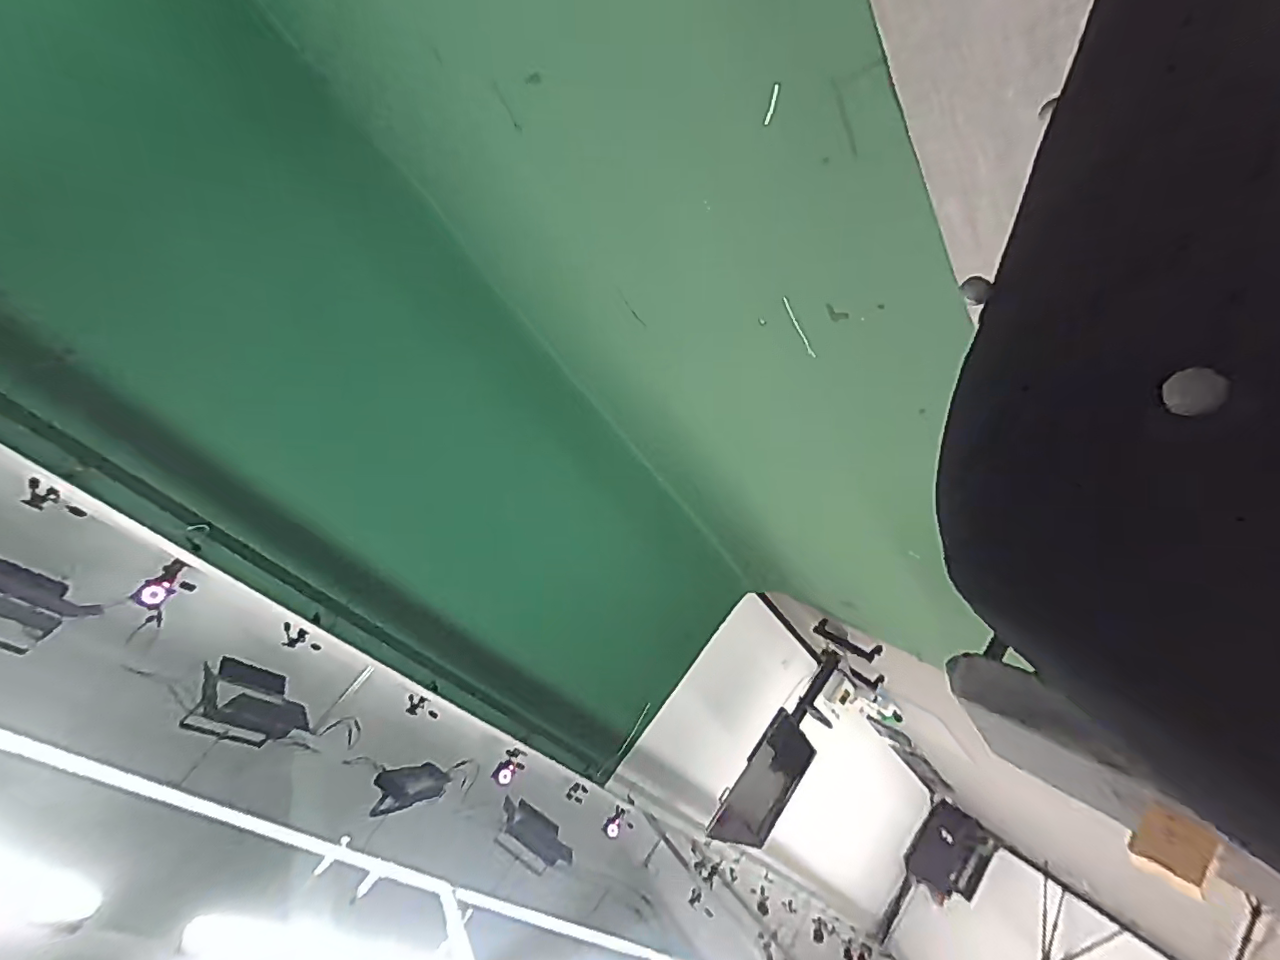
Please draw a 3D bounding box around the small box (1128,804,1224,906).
[{"bbox_3d":[1.609,1.118,1.623,0.179,0.176,0.168,48,164,-30],"label":"small box"}]
